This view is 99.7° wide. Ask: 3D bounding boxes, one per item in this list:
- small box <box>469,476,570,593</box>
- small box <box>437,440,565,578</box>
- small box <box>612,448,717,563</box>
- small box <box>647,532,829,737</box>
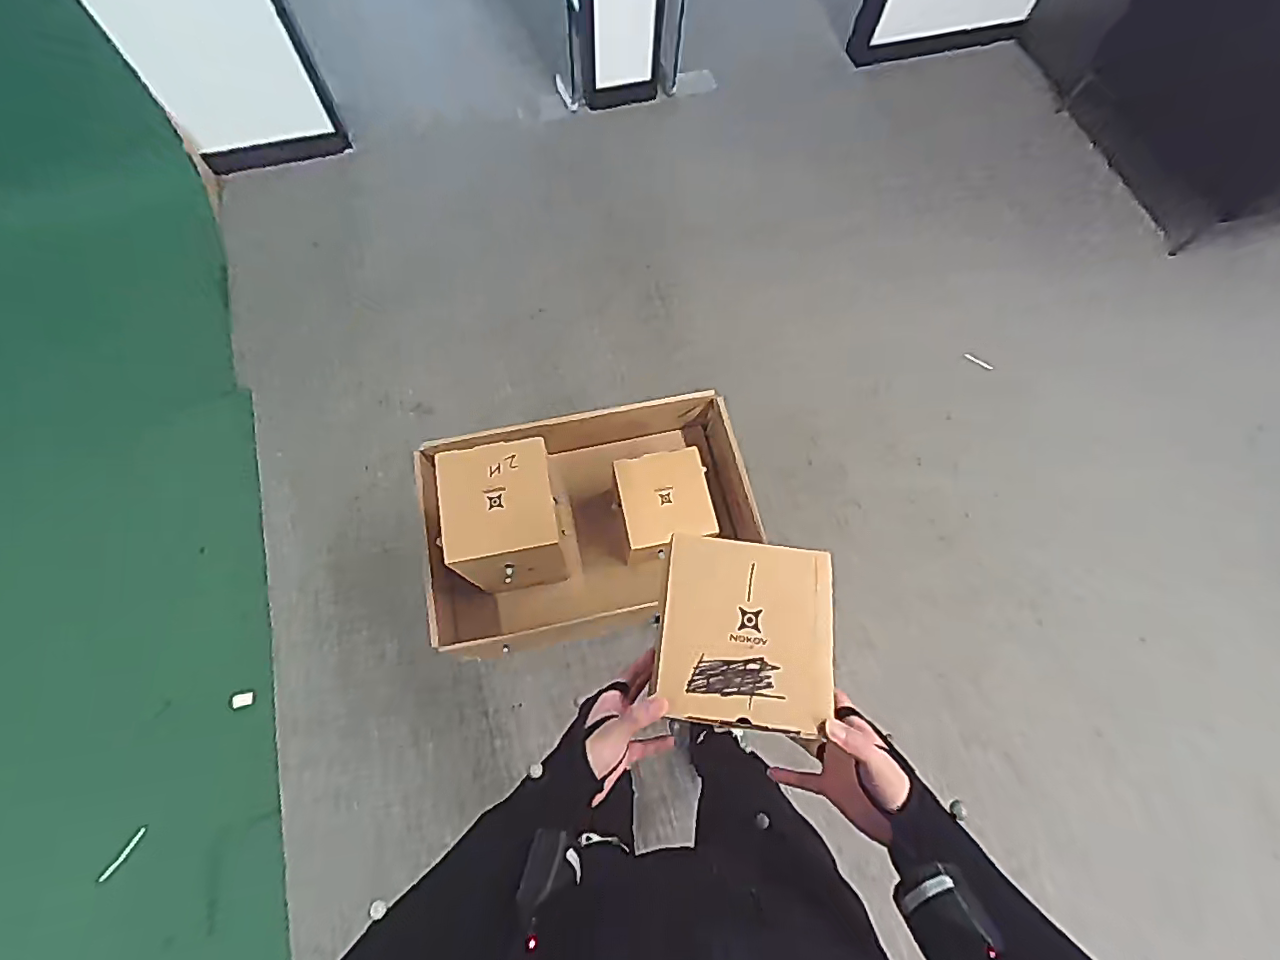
[{"bbox_3d":[-0.230,0.107,1.035,0.168,0.176,0.179,-9,70,-5],"label":"small box"},{"bbox_3d":[-0.218,0.056,0.879,0.168,0.176,0.179,-9,70,-7],"label":"small box"},{"bbox_3d":[0.043,0.060,1.067,0.168,0.176,0.179,-10,70,-6],"label":"small box"},{"bbox_3d":[0.099,0.174,0.596,0.168,0.176,0.179,7,67,1],"label":"small box"}]
